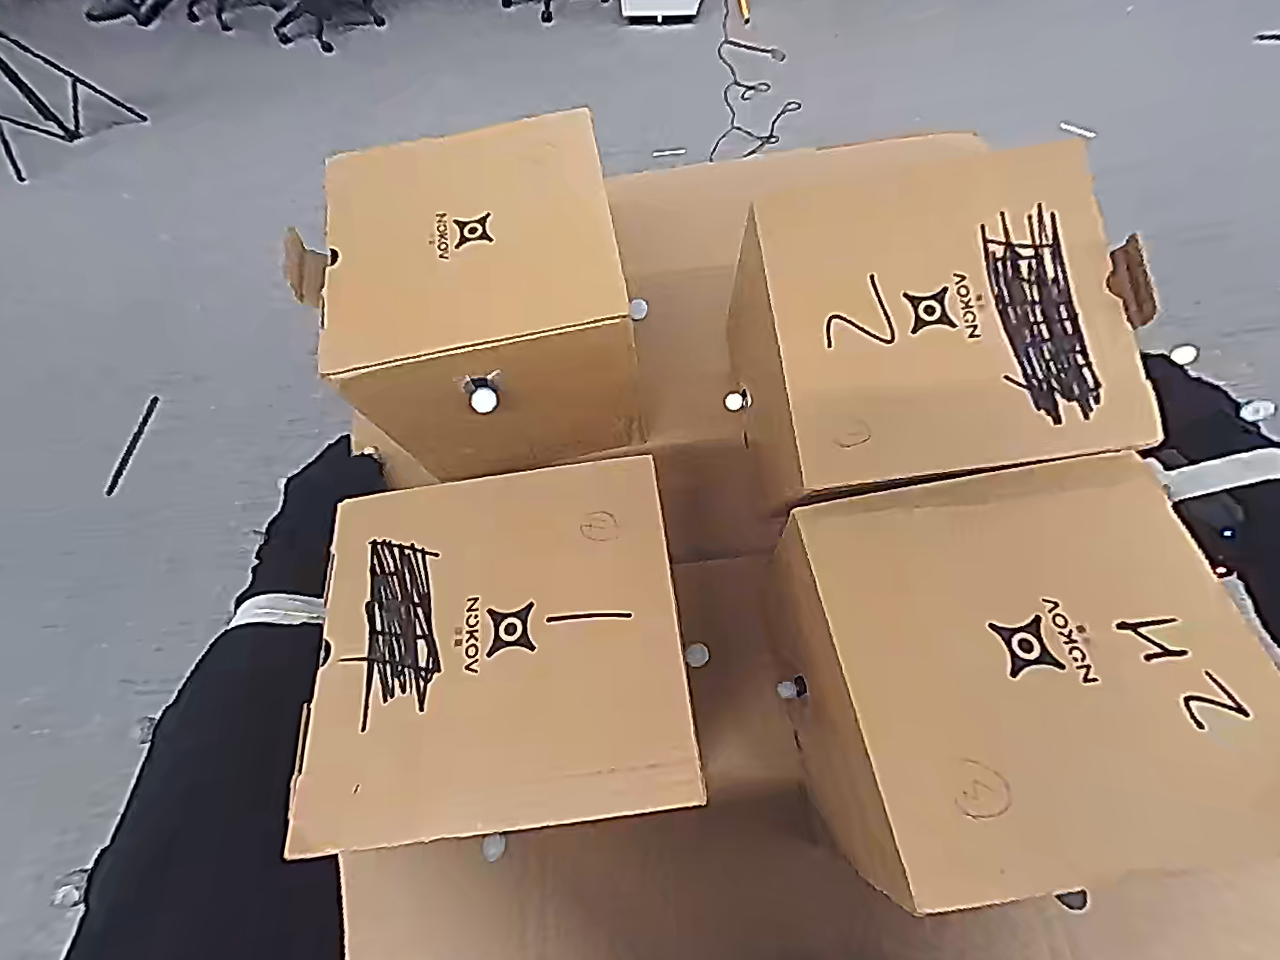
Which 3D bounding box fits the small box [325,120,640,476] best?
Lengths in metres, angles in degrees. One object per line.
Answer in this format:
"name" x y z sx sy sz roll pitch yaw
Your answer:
"small box" -0.098 -0.117 0.403 0.179 0.176 0.168 -11 69 2
